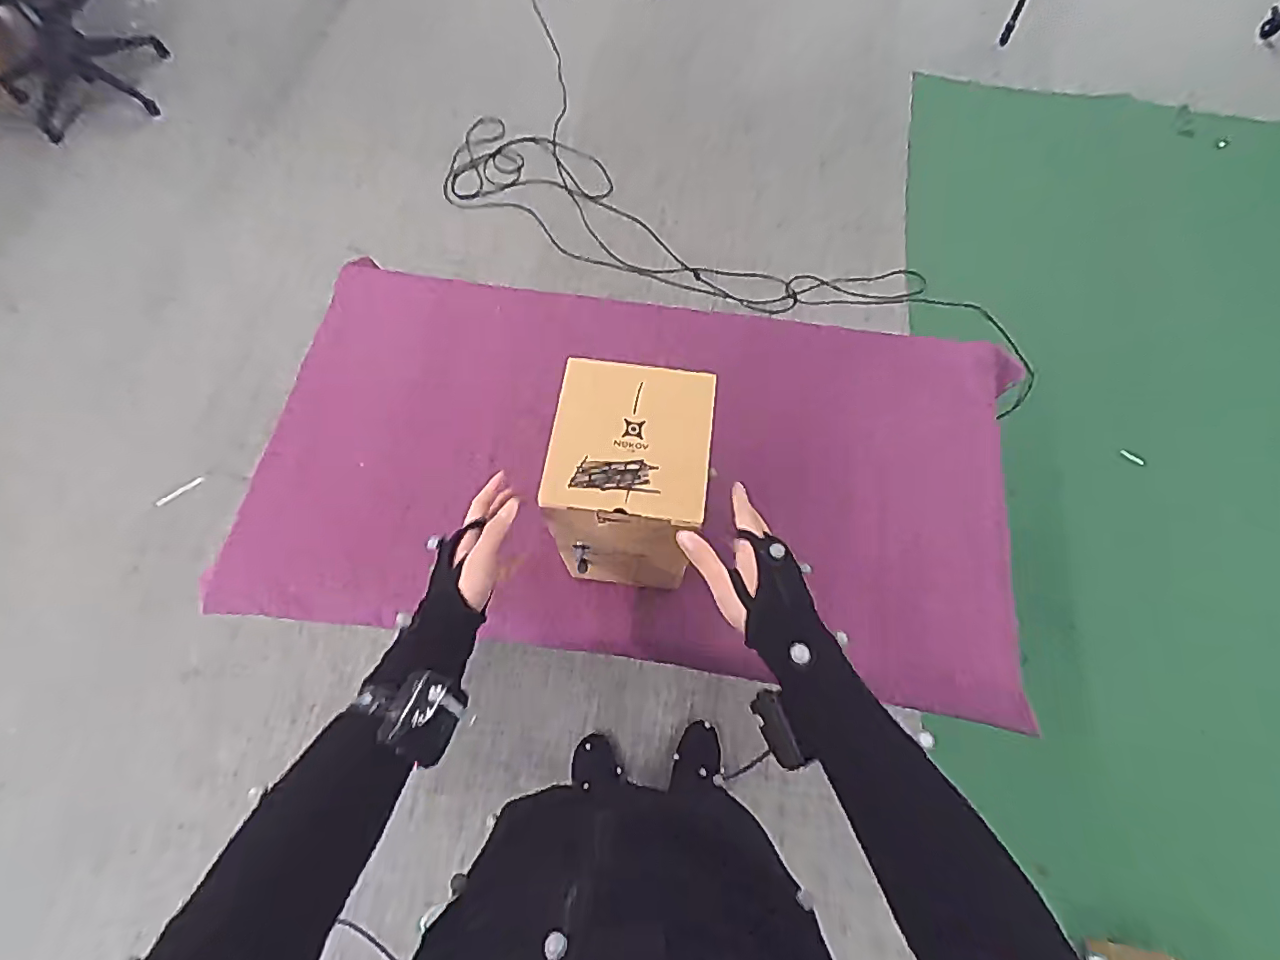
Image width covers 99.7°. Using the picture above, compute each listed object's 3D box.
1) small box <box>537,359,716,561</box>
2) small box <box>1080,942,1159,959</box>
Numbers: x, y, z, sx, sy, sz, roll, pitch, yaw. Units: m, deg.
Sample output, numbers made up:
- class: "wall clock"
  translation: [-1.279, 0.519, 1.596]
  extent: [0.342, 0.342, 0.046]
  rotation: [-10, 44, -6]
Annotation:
- class: "small box"
  translation: [-0.010, -0.014, 0.632]
  extent: [0.168, 0.176, 0.179]
  rotation: [8, 67, 2]
- class: "small box"
  translation: [1.098, 1.135, 1.156]
  extent: [0.179, 0.176, 0.168]
  rotation: [10, 68, 3]
